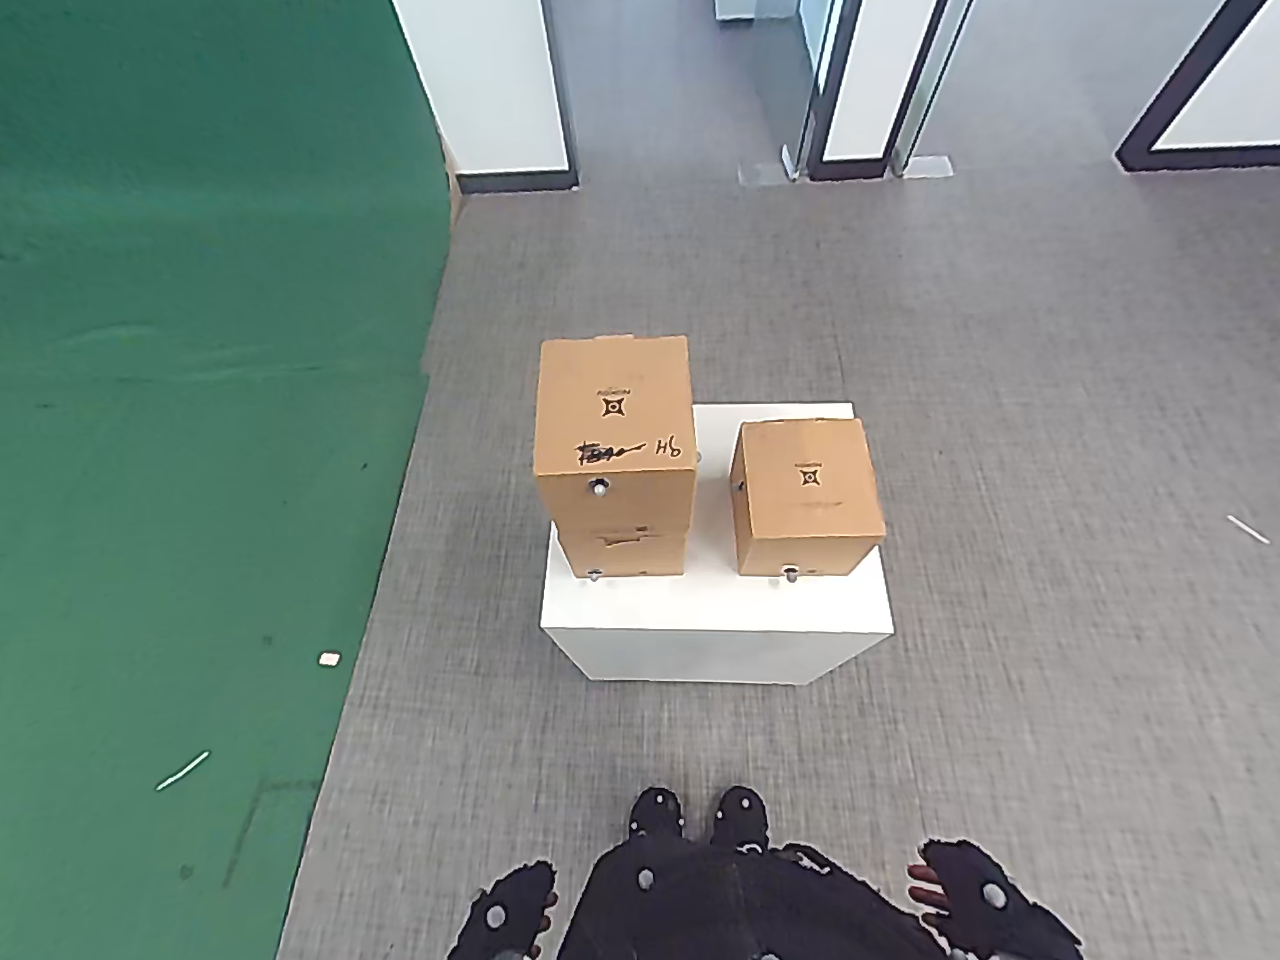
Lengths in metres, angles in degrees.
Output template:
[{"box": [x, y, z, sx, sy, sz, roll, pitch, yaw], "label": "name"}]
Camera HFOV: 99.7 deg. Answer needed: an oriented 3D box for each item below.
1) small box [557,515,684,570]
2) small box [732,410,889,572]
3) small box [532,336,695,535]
[{"box": [-0.021, 0.028, 0.791, 0.168, 0.176, 0.179, -2, 61, 2], "label": "small box"}, {"box": [0.224, 0.021, 0.765, 0.168, 0.176, 0.179, -3, 64, 4], "label": "small box"}, {"box": [-0.025, -0.048, 0.647, 0.168, 0.176, 0.179, -3, 62, 2], "label": "small box"}]
